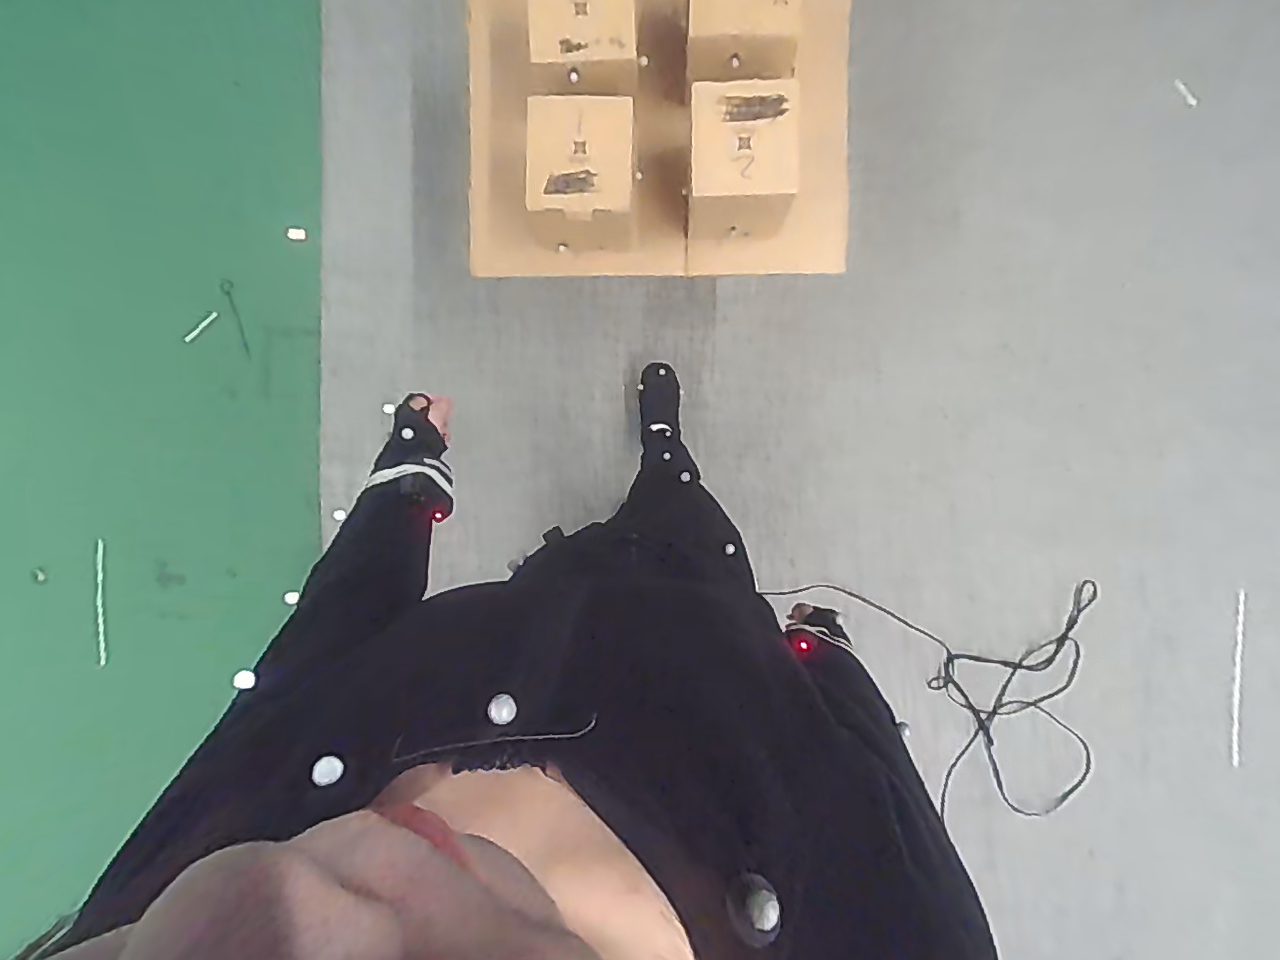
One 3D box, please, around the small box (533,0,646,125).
[{"bbox_3d":[-0.078,-0.733,0.902,0.168,0.176,0.179,0,91,4],"label":"small box"}]
